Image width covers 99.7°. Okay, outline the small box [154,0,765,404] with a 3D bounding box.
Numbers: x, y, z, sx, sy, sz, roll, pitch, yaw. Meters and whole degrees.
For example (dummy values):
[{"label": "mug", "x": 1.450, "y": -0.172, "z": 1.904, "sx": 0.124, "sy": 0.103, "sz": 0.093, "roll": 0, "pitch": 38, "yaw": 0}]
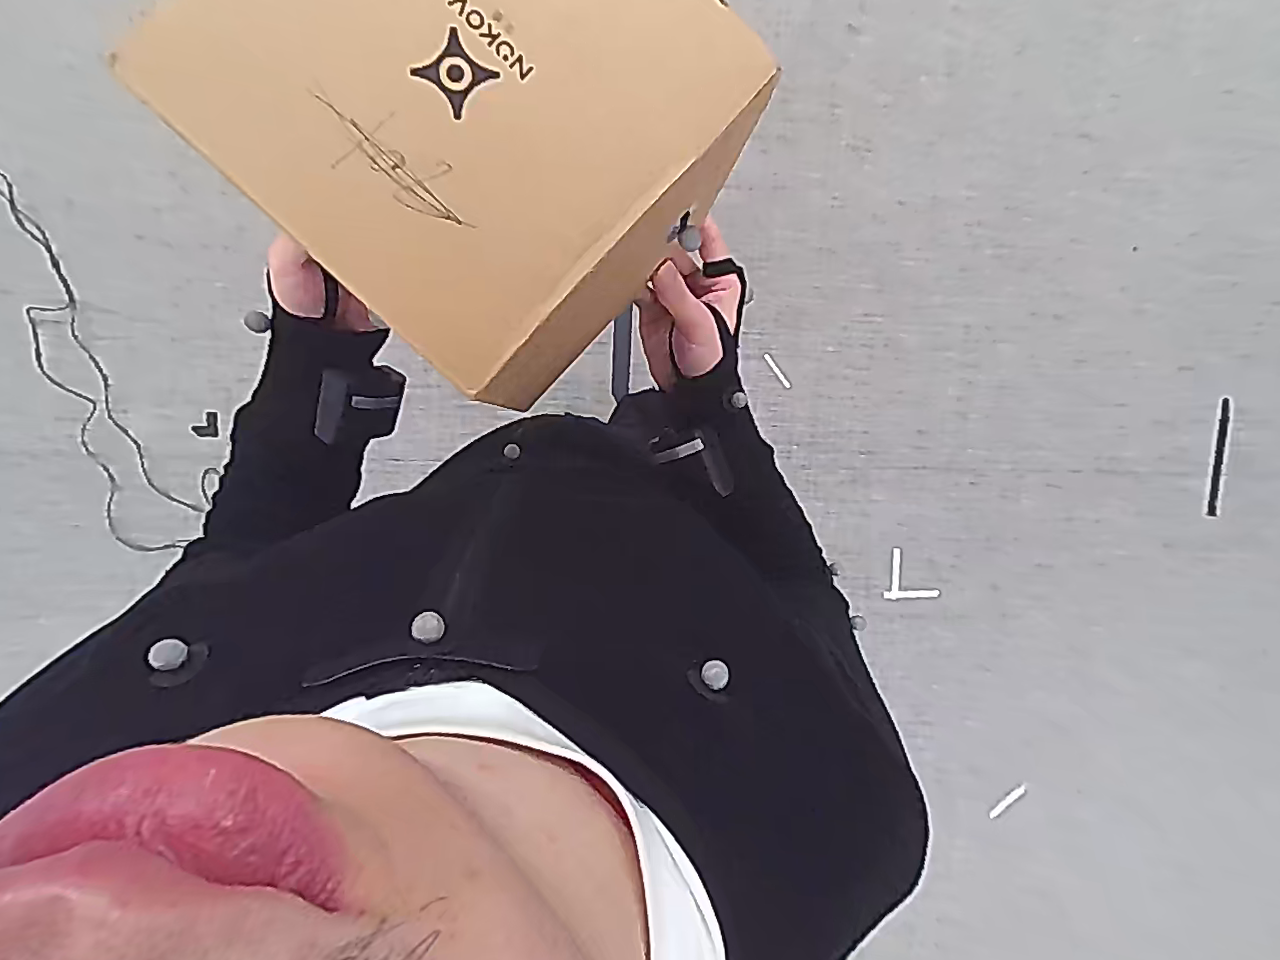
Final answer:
[{"label": "small box", "x": -0.071, "y": -0.159, "z": 0.288, "sx": 0.168, "sy": 0.176, "sz": 0.179, "roll": 43, "pitch": 91, "yaw": -7}]
